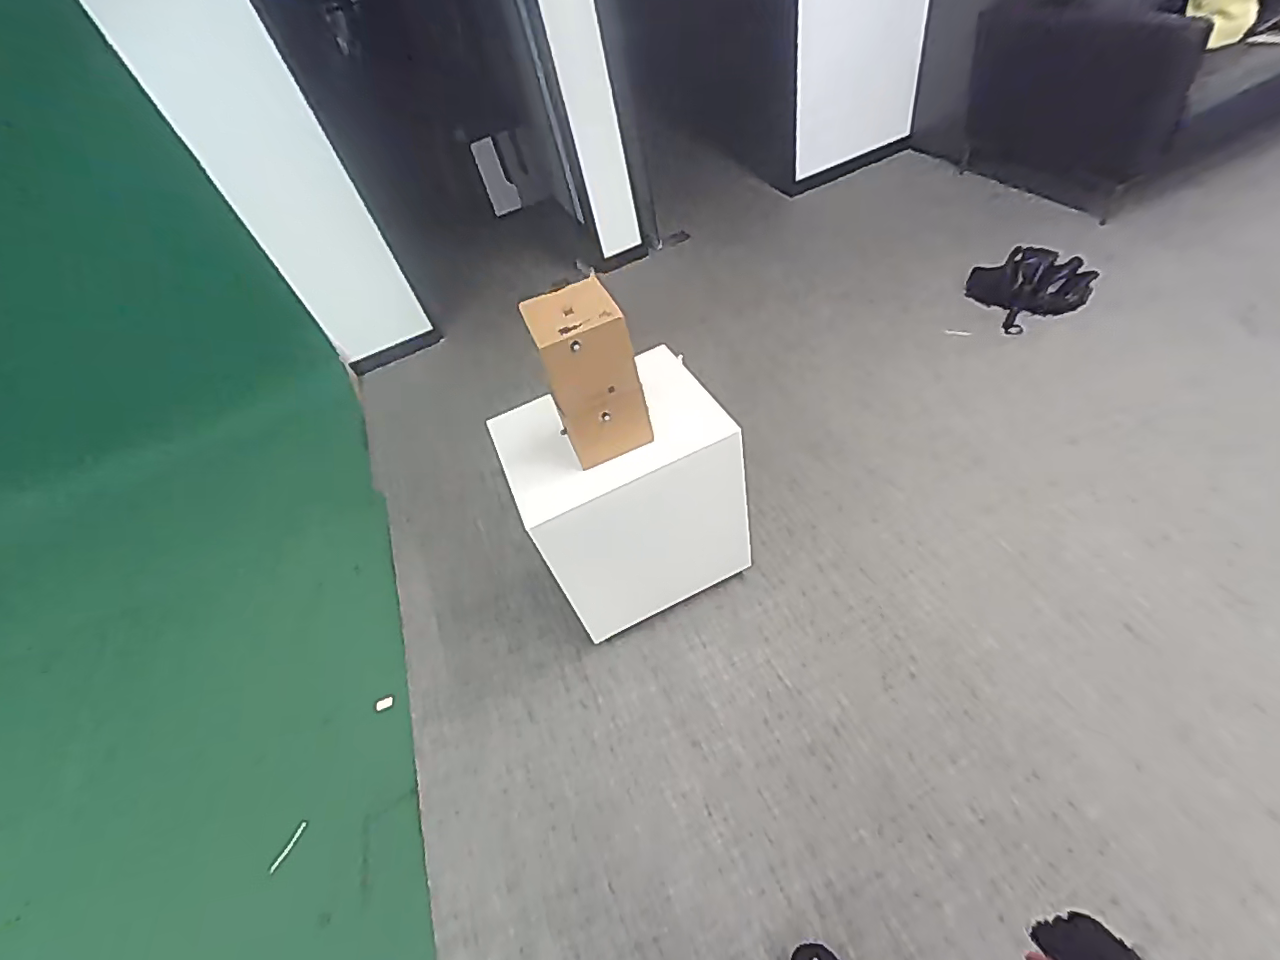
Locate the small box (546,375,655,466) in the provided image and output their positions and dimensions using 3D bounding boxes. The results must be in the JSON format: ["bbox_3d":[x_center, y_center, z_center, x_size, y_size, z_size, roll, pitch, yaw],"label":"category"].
[{"bbox_3d":[-0.084,-0.159,1.199,0.179,0.176,0.168,-23,49,-7],"label":"small box"}]

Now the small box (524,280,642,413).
[{"bbox_3d":[-0.111,-0.264,1.081,0.168,0.176,0.179,-24,49,-8],"label":"small box"}]
